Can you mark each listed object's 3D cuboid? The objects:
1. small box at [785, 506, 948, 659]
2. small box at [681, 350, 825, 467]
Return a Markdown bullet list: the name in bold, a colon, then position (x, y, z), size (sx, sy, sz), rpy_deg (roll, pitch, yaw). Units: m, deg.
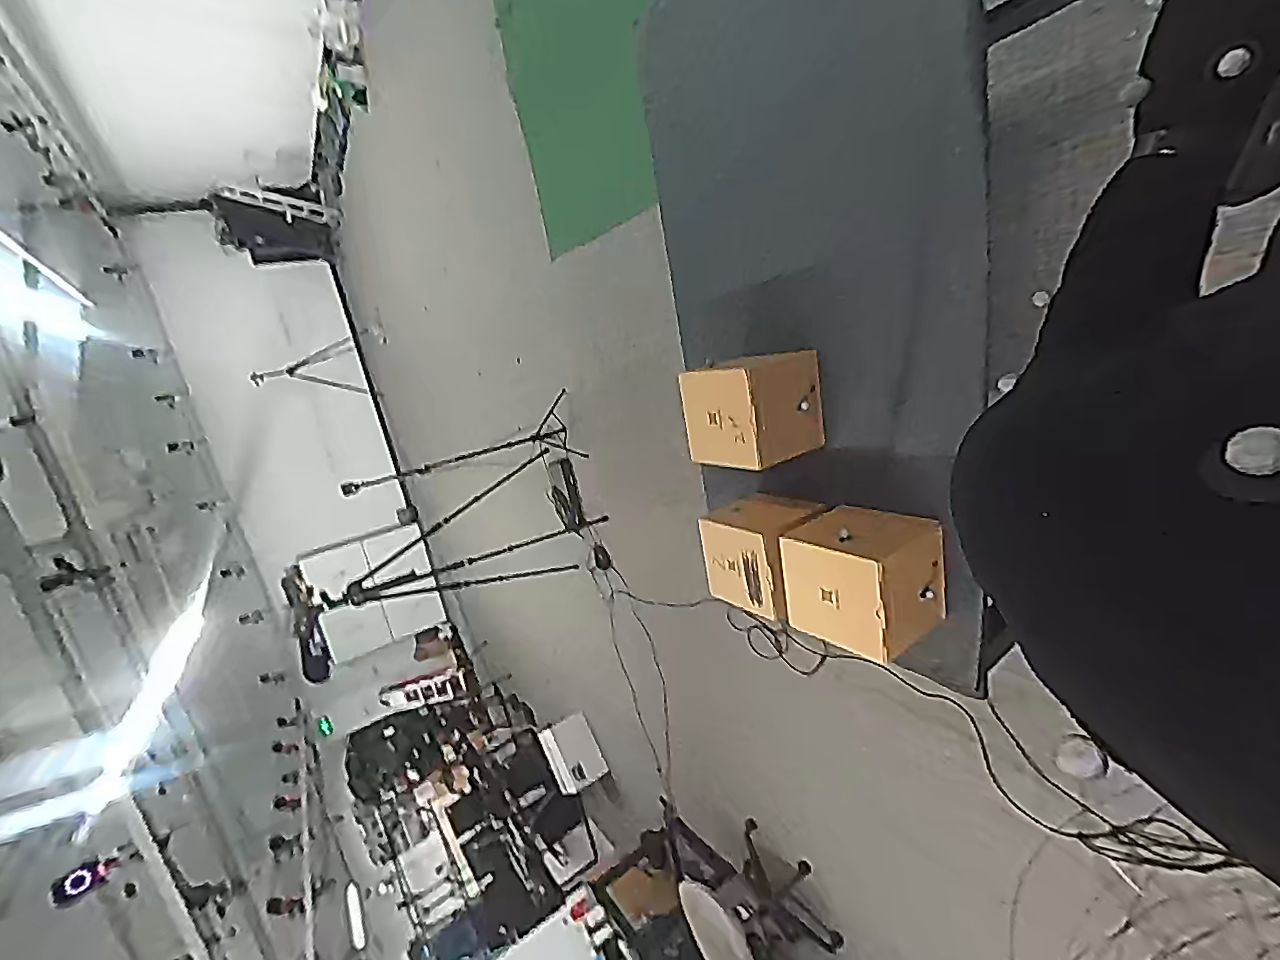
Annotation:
- **small box**: position (0.360, 0.148, 0.863), size (0.179, 0.176, 0.168), rpy_deg (10, 116, 54)
- **small box**: position (0.200, -0.130, 0.959), size (0.179, 0.176, 0.168), rpy_deg (11, 116, 55)
